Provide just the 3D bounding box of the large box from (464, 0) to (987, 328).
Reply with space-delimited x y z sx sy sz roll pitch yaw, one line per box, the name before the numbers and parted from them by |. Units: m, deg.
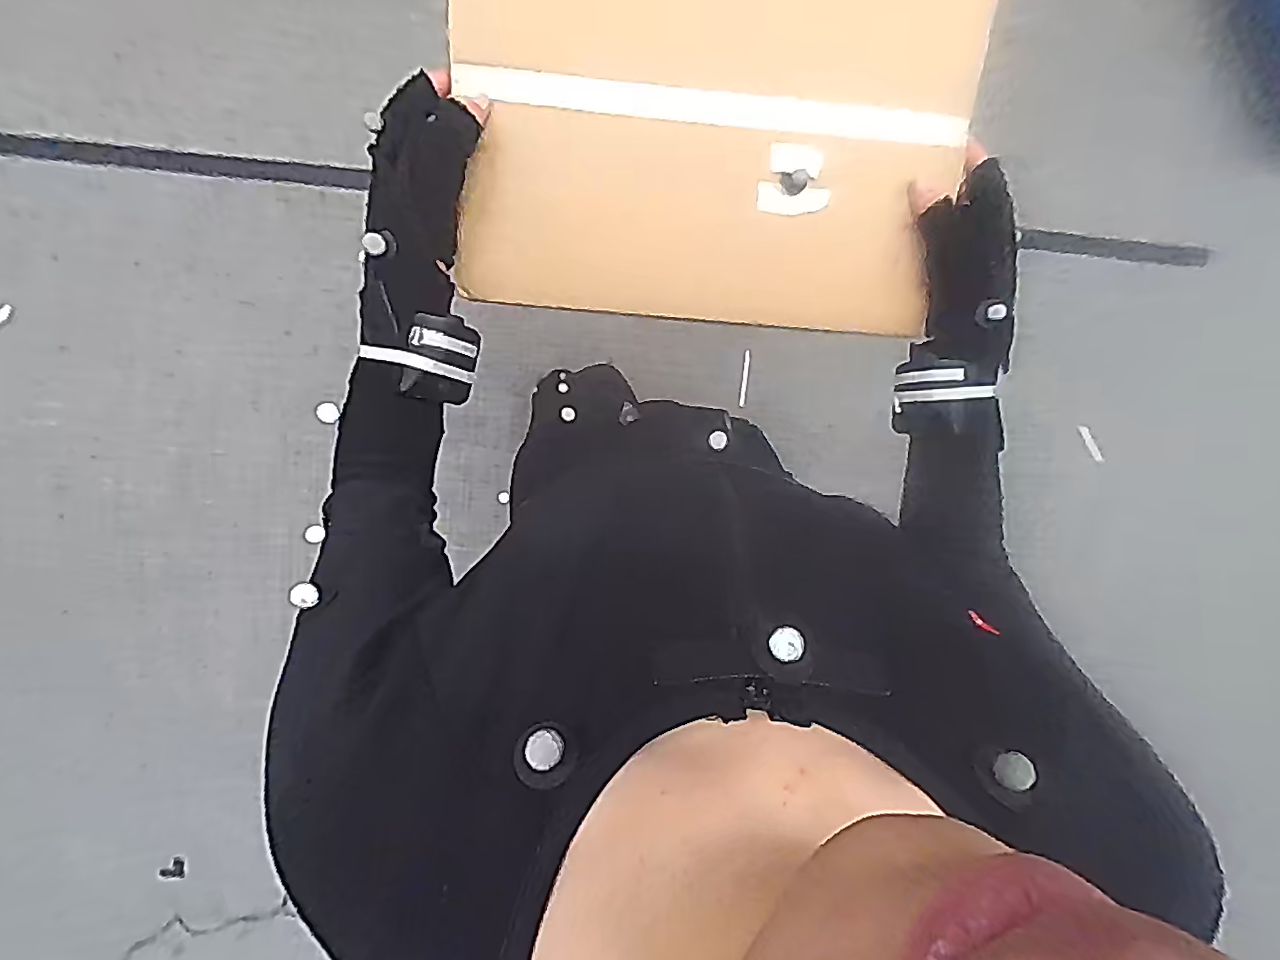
large box | 0.053 -0.334 0.570 0.408 0.320 0.320 4 107 -5
